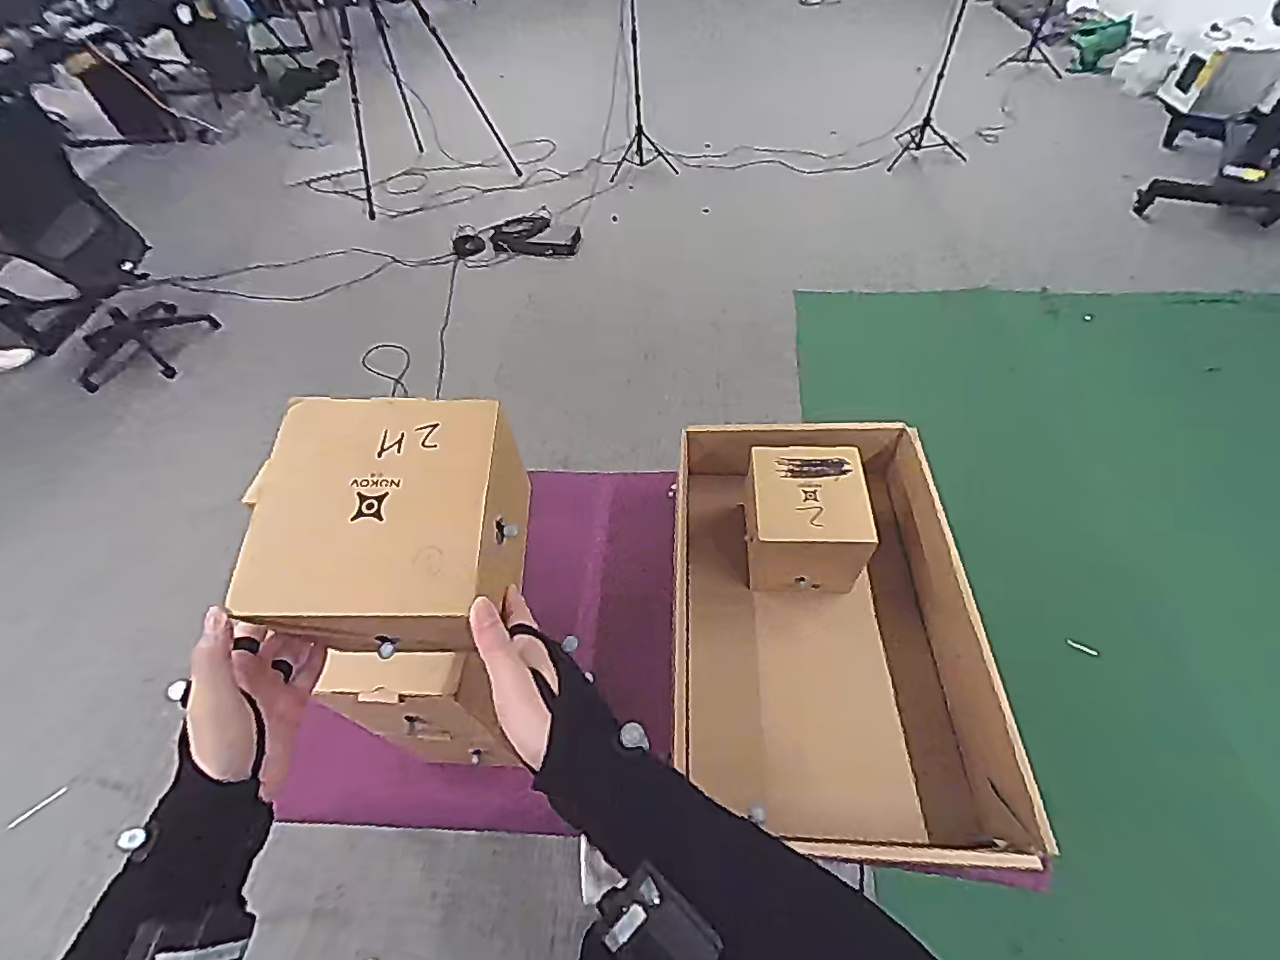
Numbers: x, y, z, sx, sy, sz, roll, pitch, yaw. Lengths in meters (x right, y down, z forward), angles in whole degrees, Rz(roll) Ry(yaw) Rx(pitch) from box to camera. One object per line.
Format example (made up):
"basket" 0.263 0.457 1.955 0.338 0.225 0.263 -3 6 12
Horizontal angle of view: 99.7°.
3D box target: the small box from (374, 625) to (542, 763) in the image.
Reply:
"small box" -0.251 0.305 0.798 0.168 0.176 0.179 1 51 5

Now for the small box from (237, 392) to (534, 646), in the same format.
"small box" -0.188 0.044 0.466 0.168 0.176 0.179 1 64 -2

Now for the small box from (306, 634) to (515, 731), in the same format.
"small box" -0.260 0.201 0.672 0.168 0.176 0.179 1 52 4
